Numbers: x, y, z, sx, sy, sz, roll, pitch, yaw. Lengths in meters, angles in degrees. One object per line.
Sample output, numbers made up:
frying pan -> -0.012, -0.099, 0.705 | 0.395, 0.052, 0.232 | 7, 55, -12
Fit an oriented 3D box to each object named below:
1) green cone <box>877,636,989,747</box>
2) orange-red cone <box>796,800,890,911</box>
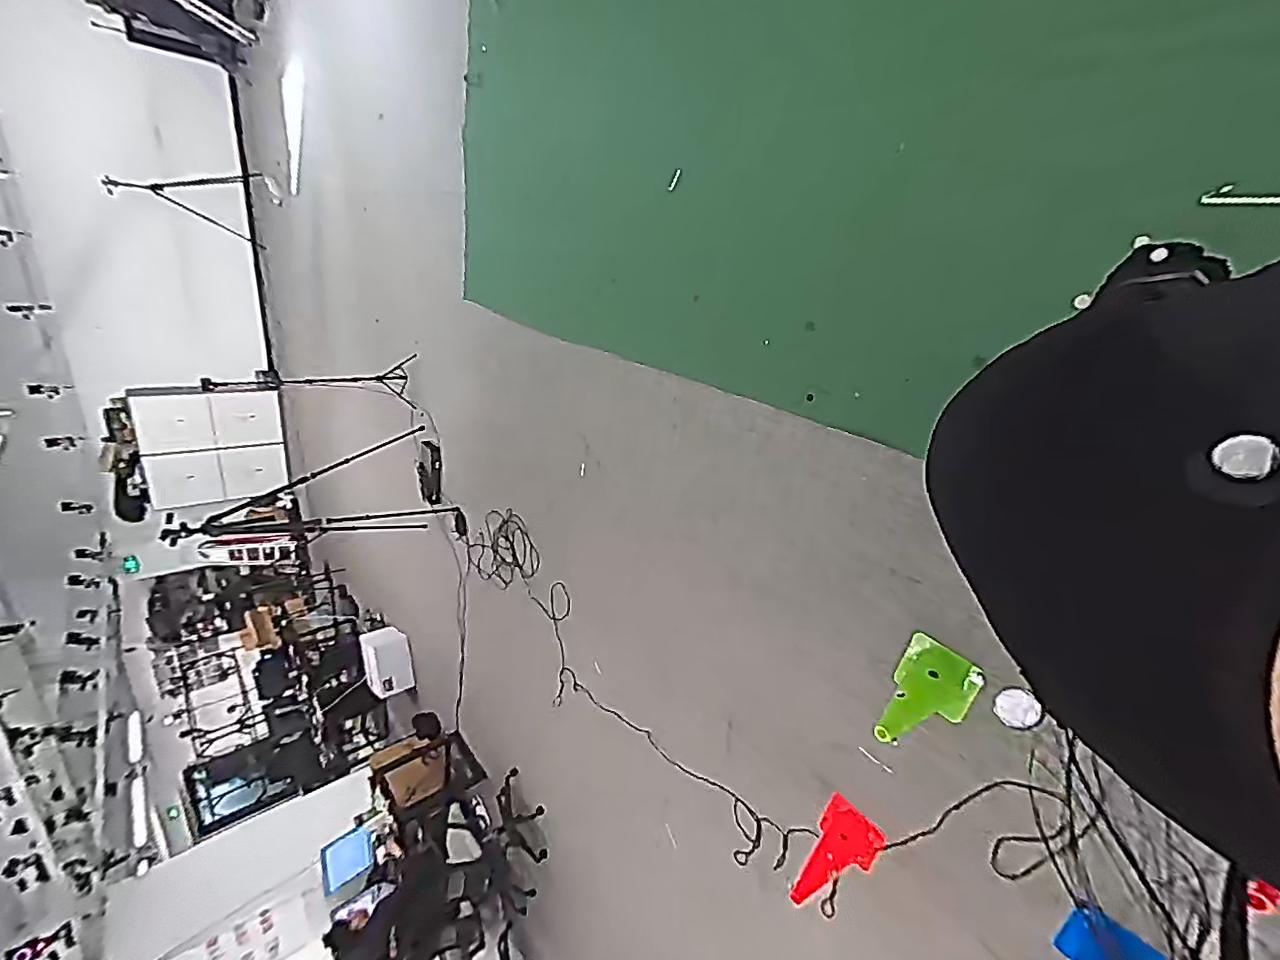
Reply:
green cone -> 0.733, 0.599, 1.437 | 0.200, 0.368, 0.202 | 32, 123, 41
orange-red cone -> 0.613, 1.252, 1.744 | 0.198, 0.360, 0.199 | 34, 122, 38
